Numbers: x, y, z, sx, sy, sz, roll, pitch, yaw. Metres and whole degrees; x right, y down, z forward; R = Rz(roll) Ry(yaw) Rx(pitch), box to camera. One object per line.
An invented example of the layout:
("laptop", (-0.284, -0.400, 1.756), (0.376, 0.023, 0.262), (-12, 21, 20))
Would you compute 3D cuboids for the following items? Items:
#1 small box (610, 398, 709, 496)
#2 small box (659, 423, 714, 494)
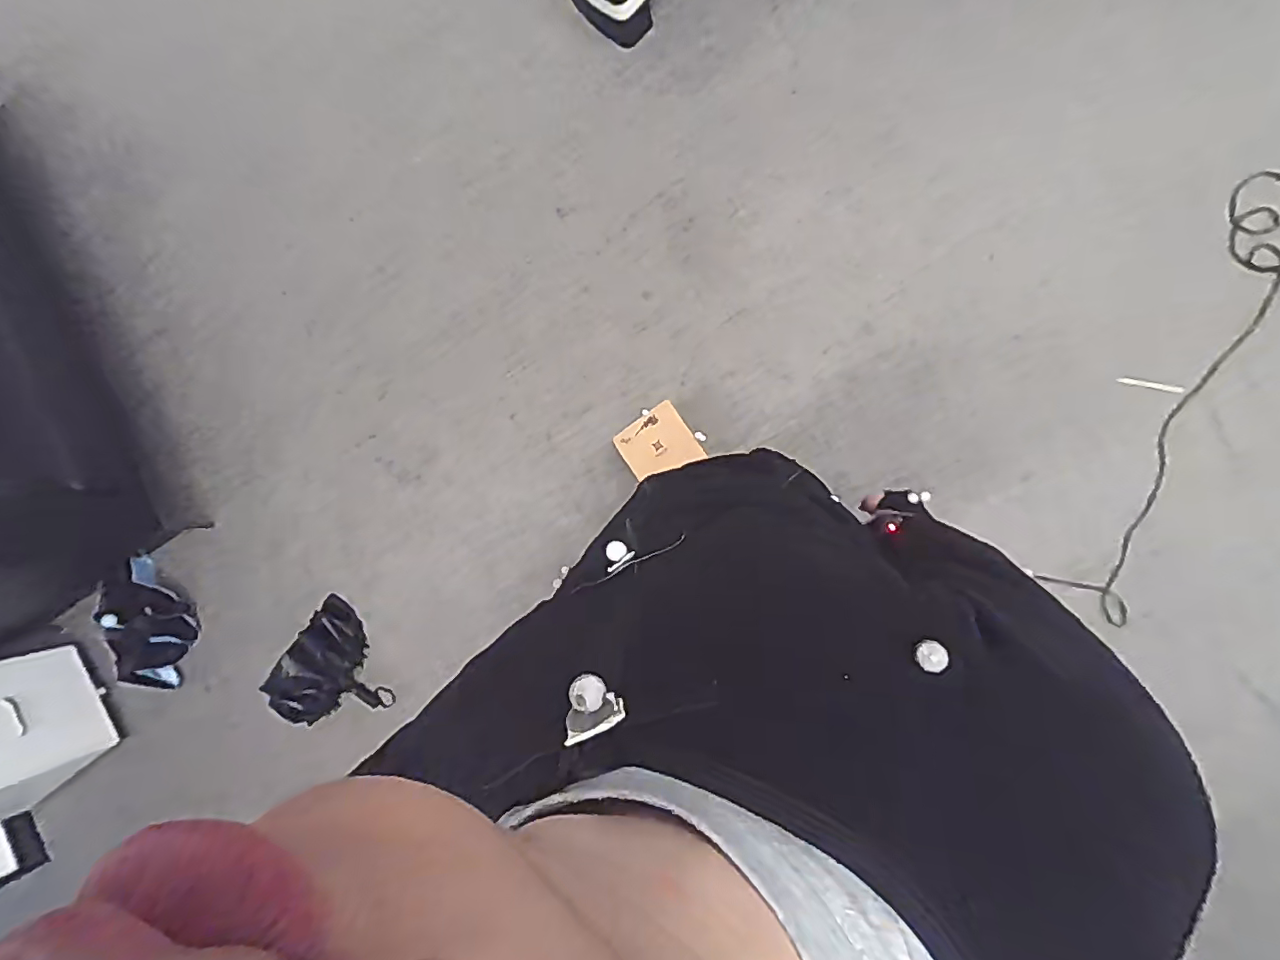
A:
("small box", (0.057, -0.079, 1.333), (0.168, 0.176, 0.179), (-35, 84, 10))
("small box", (0.087, -0.076, 1.493), (0.168, 0.176, 0.179), (-37, 84, 10))
